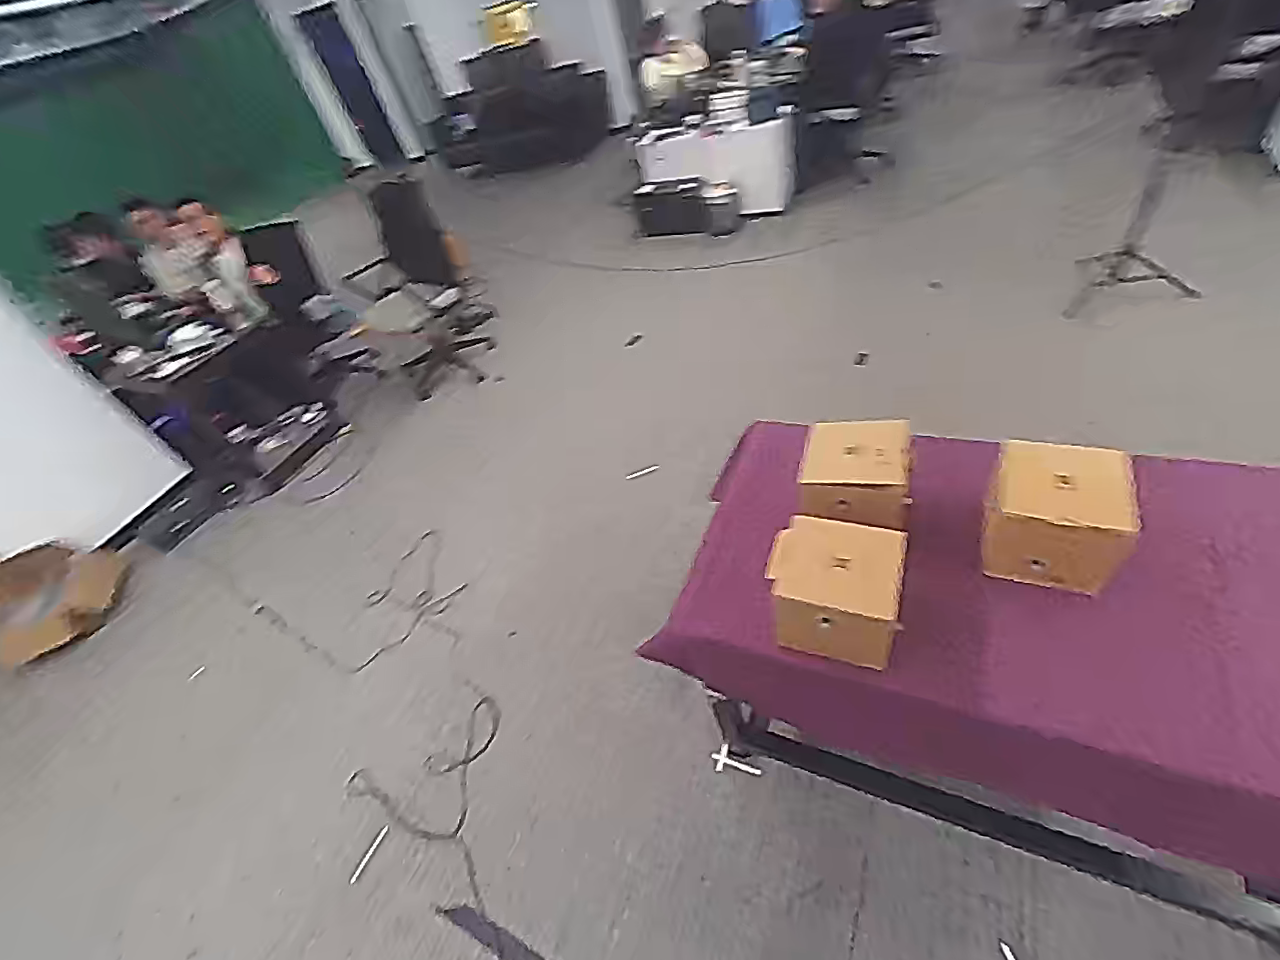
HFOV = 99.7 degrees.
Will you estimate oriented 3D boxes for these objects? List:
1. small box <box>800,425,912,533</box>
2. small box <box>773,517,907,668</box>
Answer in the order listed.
[{"bbox_3d":[0.416,0.013,1.046,0.179,0.176,0.168,7,50,24],"label":"small box"},{"bbox_3d":[0.332,0.187,0.901,0.179,0.176,0.168,9,50,25],"label":"small box"}]
